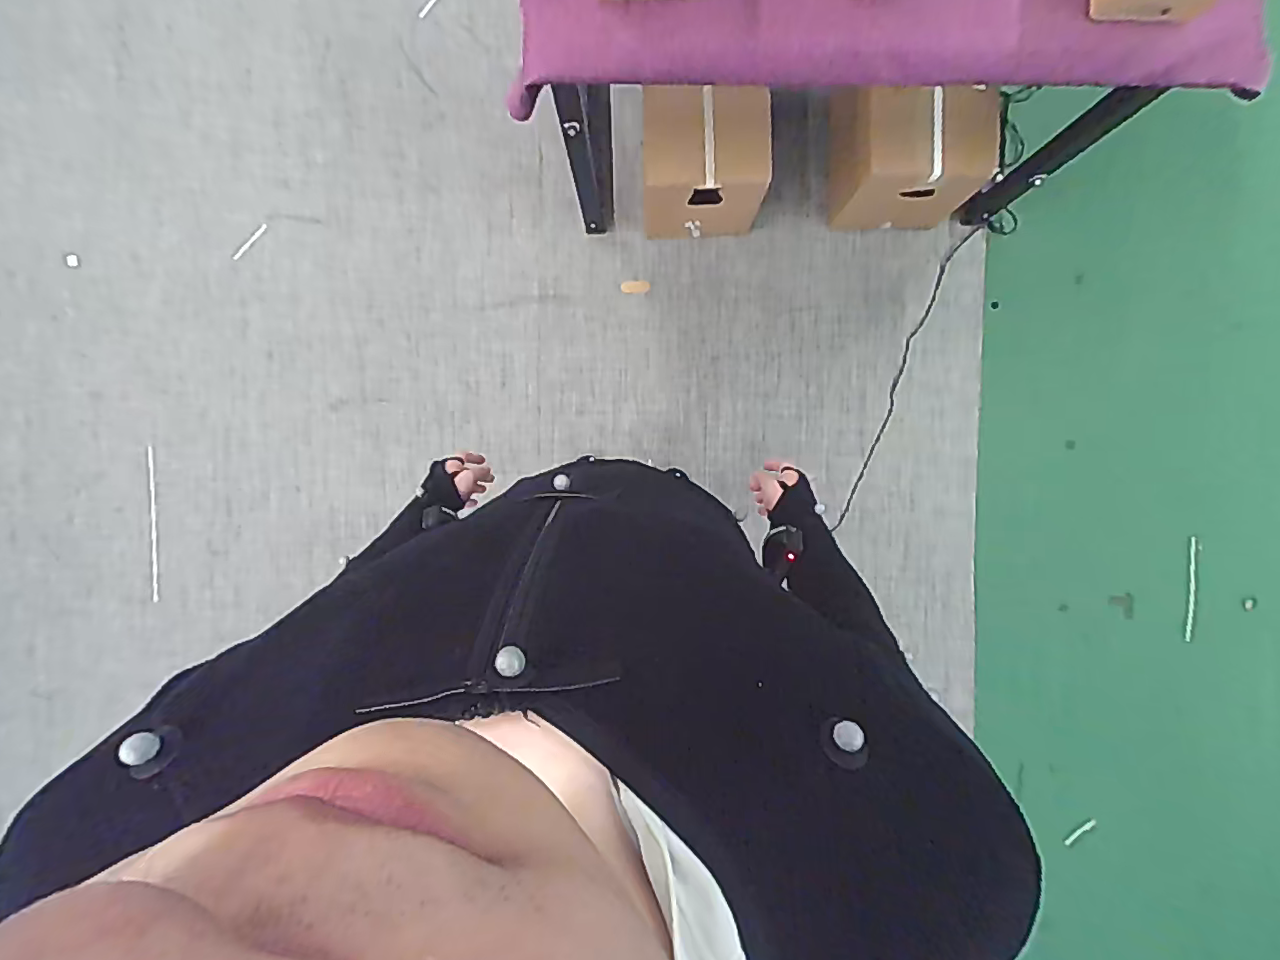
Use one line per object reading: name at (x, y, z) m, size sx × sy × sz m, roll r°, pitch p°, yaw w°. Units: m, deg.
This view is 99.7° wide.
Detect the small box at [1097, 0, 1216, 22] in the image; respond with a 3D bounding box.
small box at (0.820, -0.834, 0.797) m, size 0.168 × 0.176 × 0.179 m, roll 2°, pitch 89°, yaw 2°

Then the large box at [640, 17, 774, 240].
large box at (0.166, -0.921, 1.466) m, size 0.320 × 0.320 × 0.408 m, roll -2°, pitch 90°, yaw 0°
